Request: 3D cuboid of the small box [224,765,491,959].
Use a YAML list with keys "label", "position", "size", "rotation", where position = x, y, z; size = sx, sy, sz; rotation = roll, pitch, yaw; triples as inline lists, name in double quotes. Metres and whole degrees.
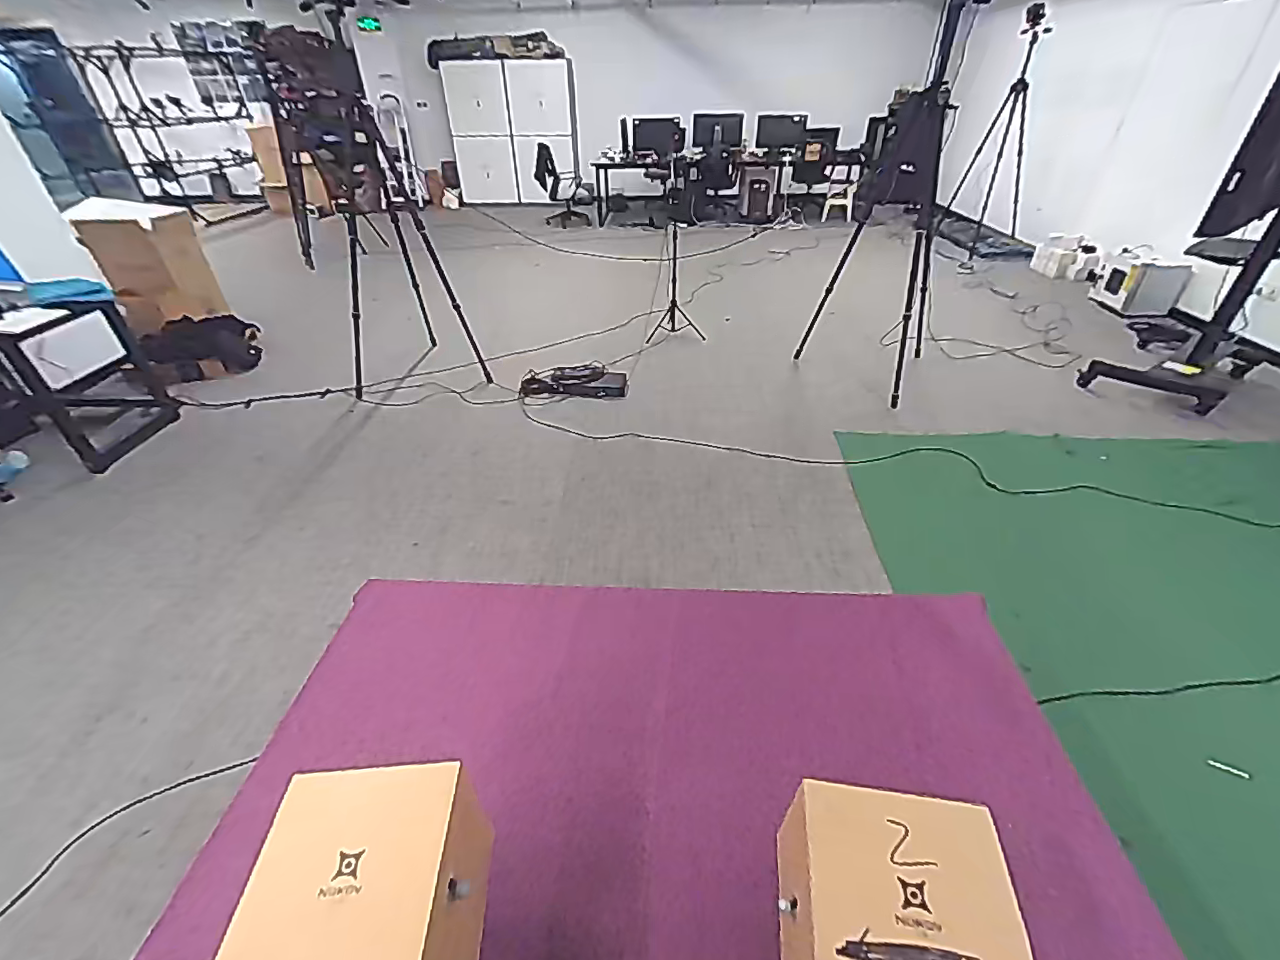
- label: "small box"
  position: [-0.251, 0.409, 0.527]
  size: [0.168, 0.176, 0.179]
  rotation: [-4, 38, -1]
